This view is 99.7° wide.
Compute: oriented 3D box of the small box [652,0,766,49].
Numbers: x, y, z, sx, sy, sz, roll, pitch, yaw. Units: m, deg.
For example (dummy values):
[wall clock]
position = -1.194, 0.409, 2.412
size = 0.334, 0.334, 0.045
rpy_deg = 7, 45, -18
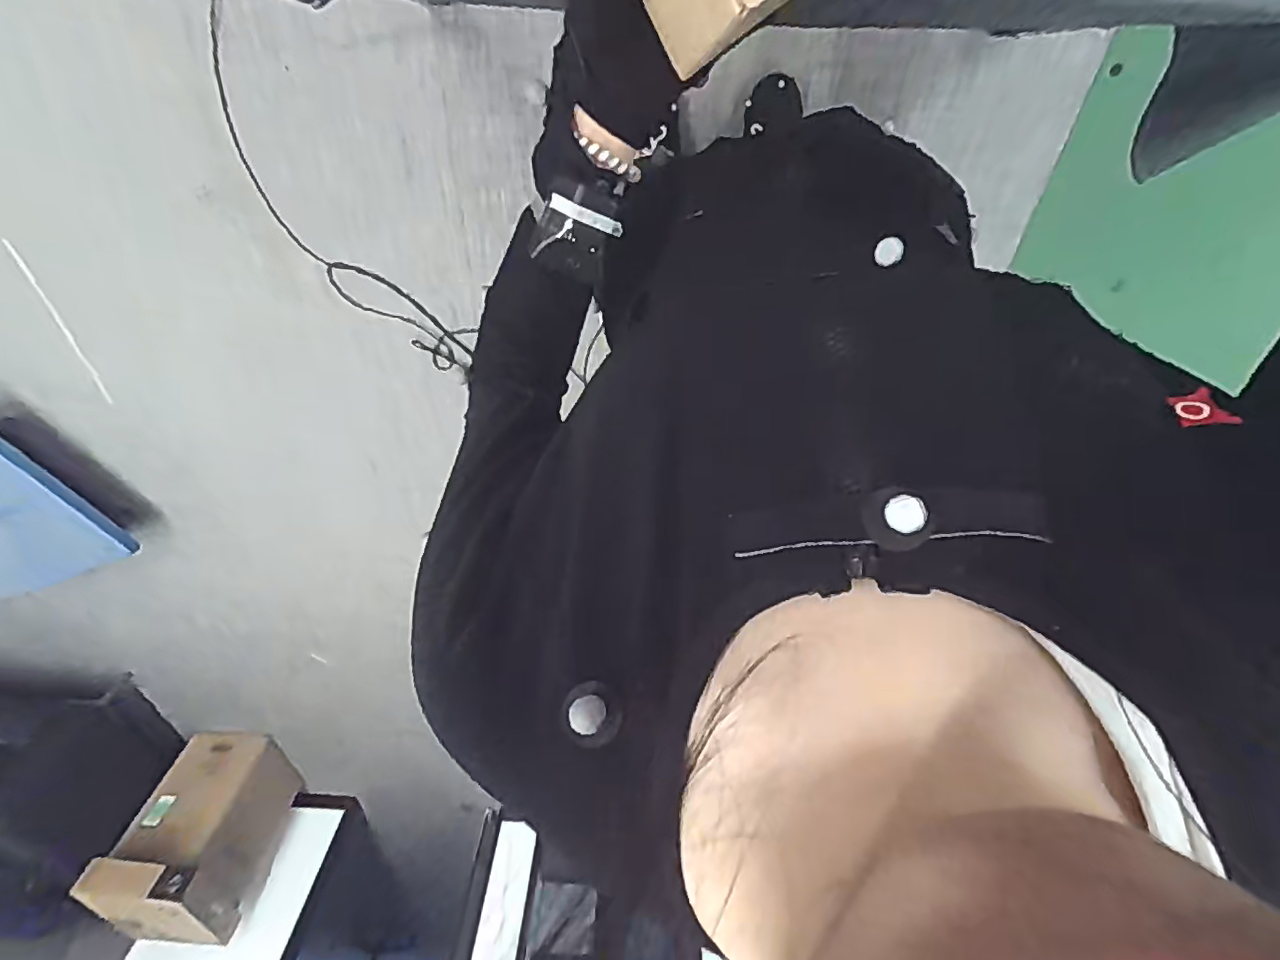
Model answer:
[small box]
position = 0.055, -0.313, 0.205
size = 0.179, 0.176, 0.168
rpy_deg = -32, 118, 14
